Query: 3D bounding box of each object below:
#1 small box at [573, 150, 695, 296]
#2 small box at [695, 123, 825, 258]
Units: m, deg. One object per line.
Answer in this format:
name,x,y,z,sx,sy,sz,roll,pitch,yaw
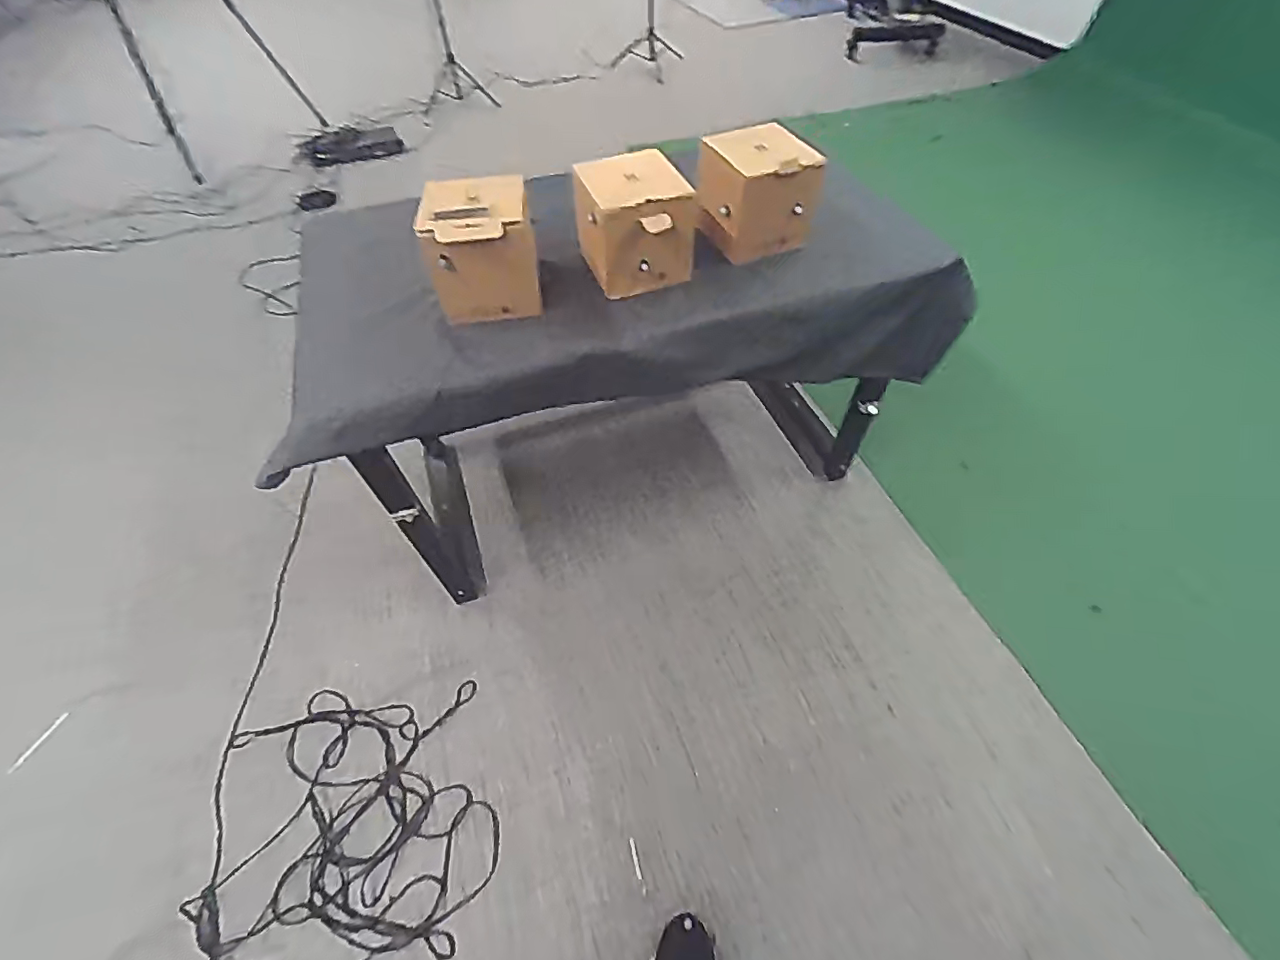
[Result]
small box,-0.014,-0.462,0.977,0.168,0.176,0.179,-18,55,-12
small box,0.218,-0.545,1.032,0.168,0.176,0.179,-19,54,-14
